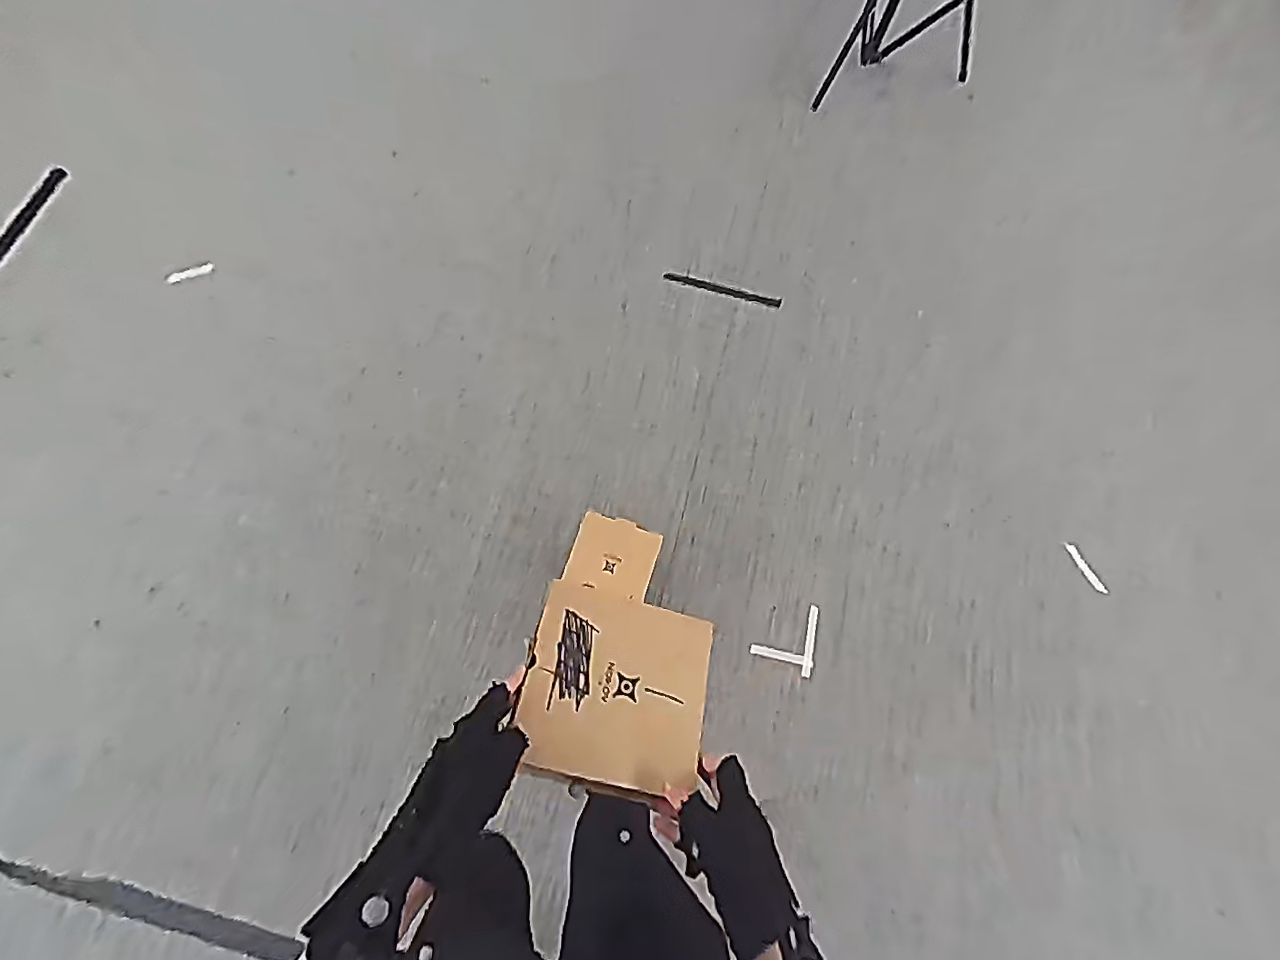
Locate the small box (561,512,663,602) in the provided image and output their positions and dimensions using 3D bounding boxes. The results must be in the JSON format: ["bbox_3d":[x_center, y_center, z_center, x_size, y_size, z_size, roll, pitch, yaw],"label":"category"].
[{"bbox_3d":[-0.064,0.192,1.136,0.168,0.176,0.179,19,72,2],"label":"small box"}]

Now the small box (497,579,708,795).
[{"bbox_3d":[-0.044,0.230,0.580,0.179,0.176,0.168,16,57,-5],"label":"small box"}]
